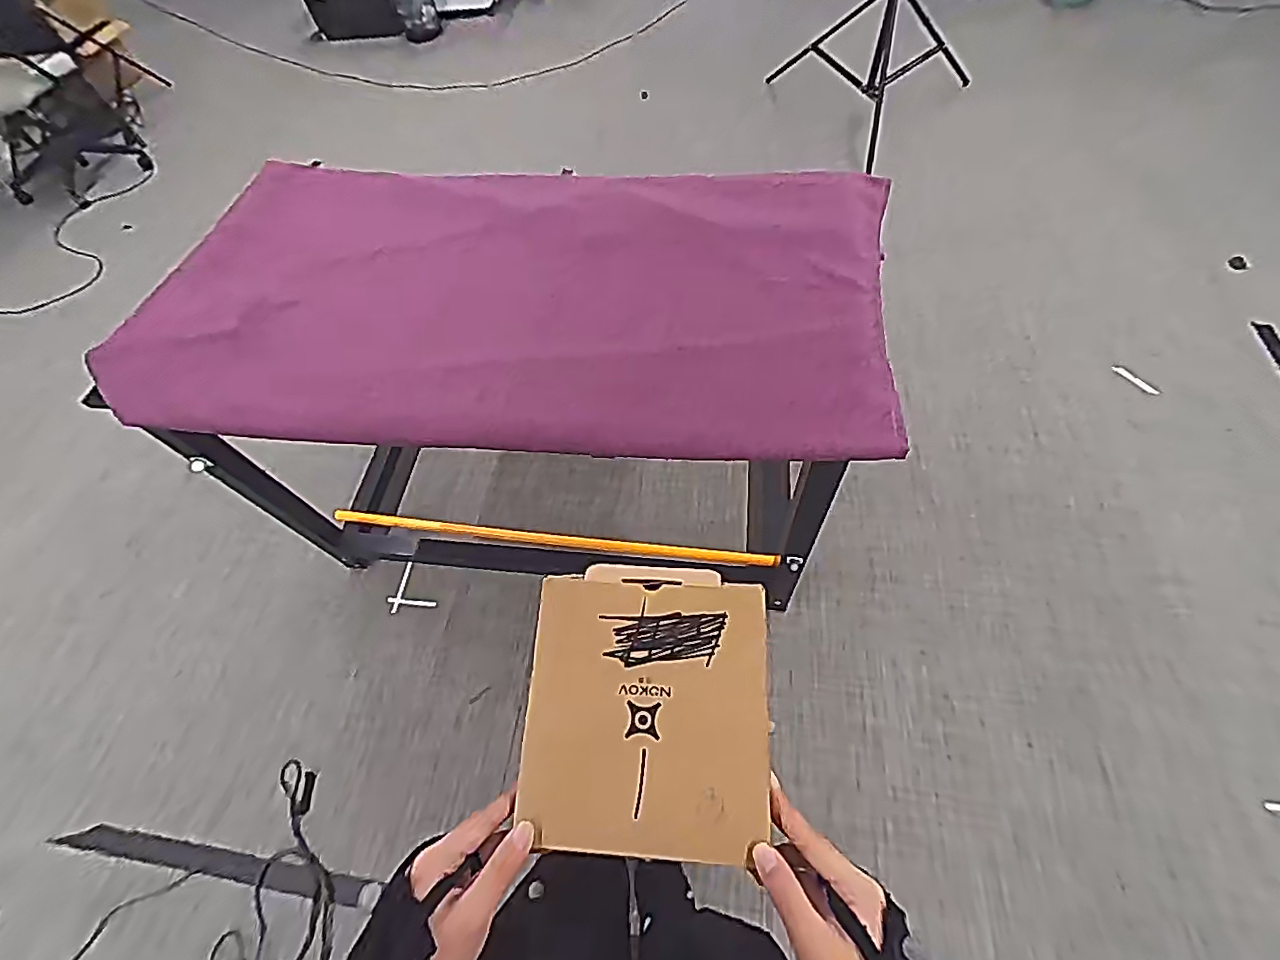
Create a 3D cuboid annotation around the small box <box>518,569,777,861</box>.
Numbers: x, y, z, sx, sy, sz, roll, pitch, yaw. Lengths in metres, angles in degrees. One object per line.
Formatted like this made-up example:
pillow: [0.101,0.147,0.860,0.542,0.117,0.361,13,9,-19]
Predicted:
small box: [0.015,0.182,0.442,0.168,0.176,0.179,1,66,6]
